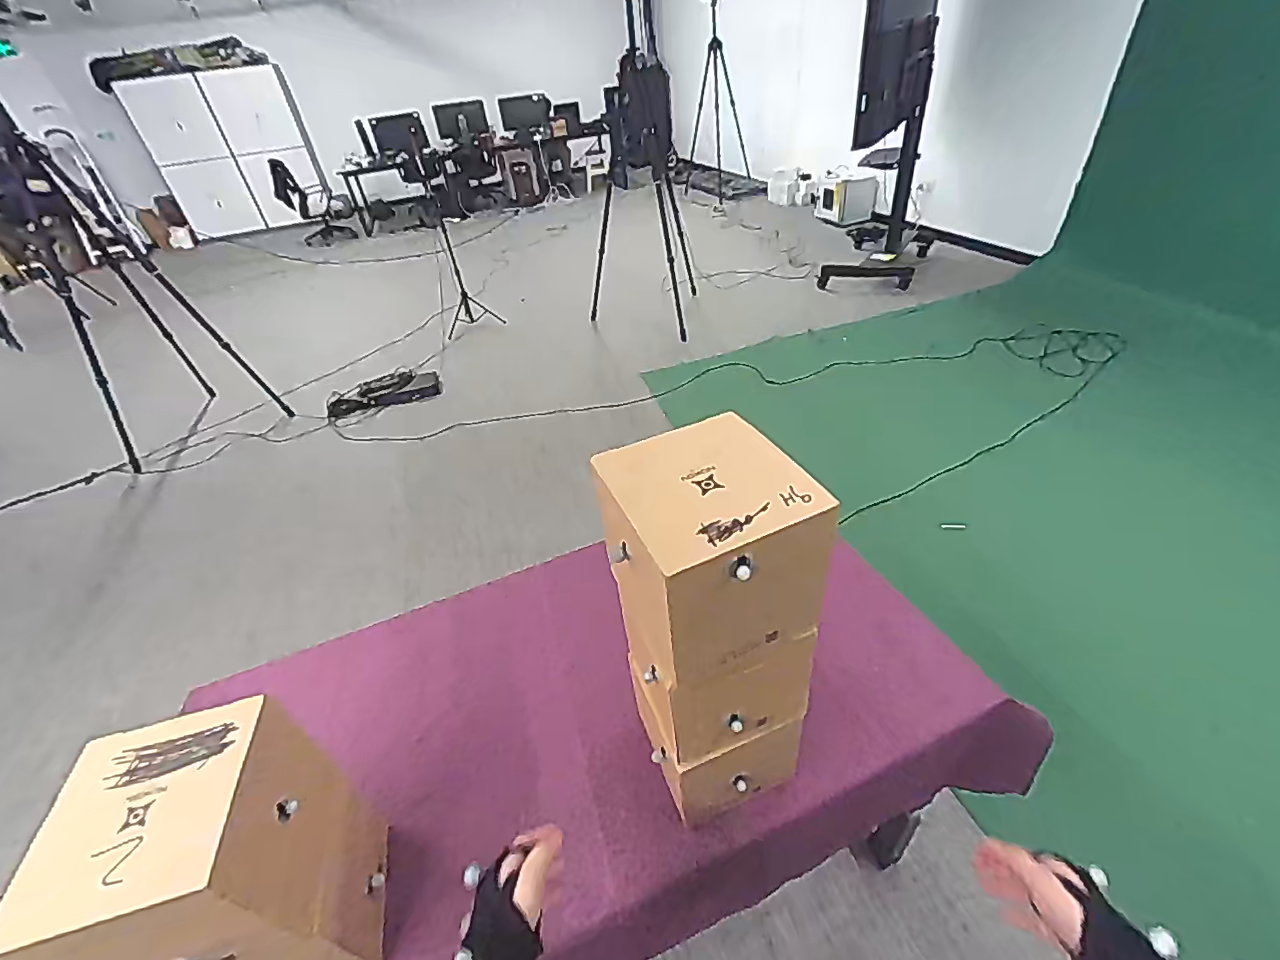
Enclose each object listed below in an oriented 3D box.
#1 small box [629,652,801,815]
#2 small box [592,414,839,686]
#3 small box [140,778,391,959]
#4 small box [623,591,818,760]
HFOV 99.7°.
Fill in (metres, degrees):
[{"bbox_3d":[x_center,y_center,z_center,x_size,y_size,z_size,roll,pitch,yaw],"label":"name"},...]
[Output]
[{"bbox_3d":[0.098,0.322,0.738,0.168,0.176,0.179,-18,39,-13],"label":"small box"},{"bbox_3d":[0.067,0.064,0.538,0.168,0.176,0.179,-21,40,-15],"label":"small box"},{"bbox_3d":[-0.409,0.487,0.618,0.179,0.176,0.168,-16,39,-11],"label":"small box"},{"bbox_3d":[0.083,0.190,0.643,0.168,0.176,0.179,-18,41,-13],"label":"small box"}]
